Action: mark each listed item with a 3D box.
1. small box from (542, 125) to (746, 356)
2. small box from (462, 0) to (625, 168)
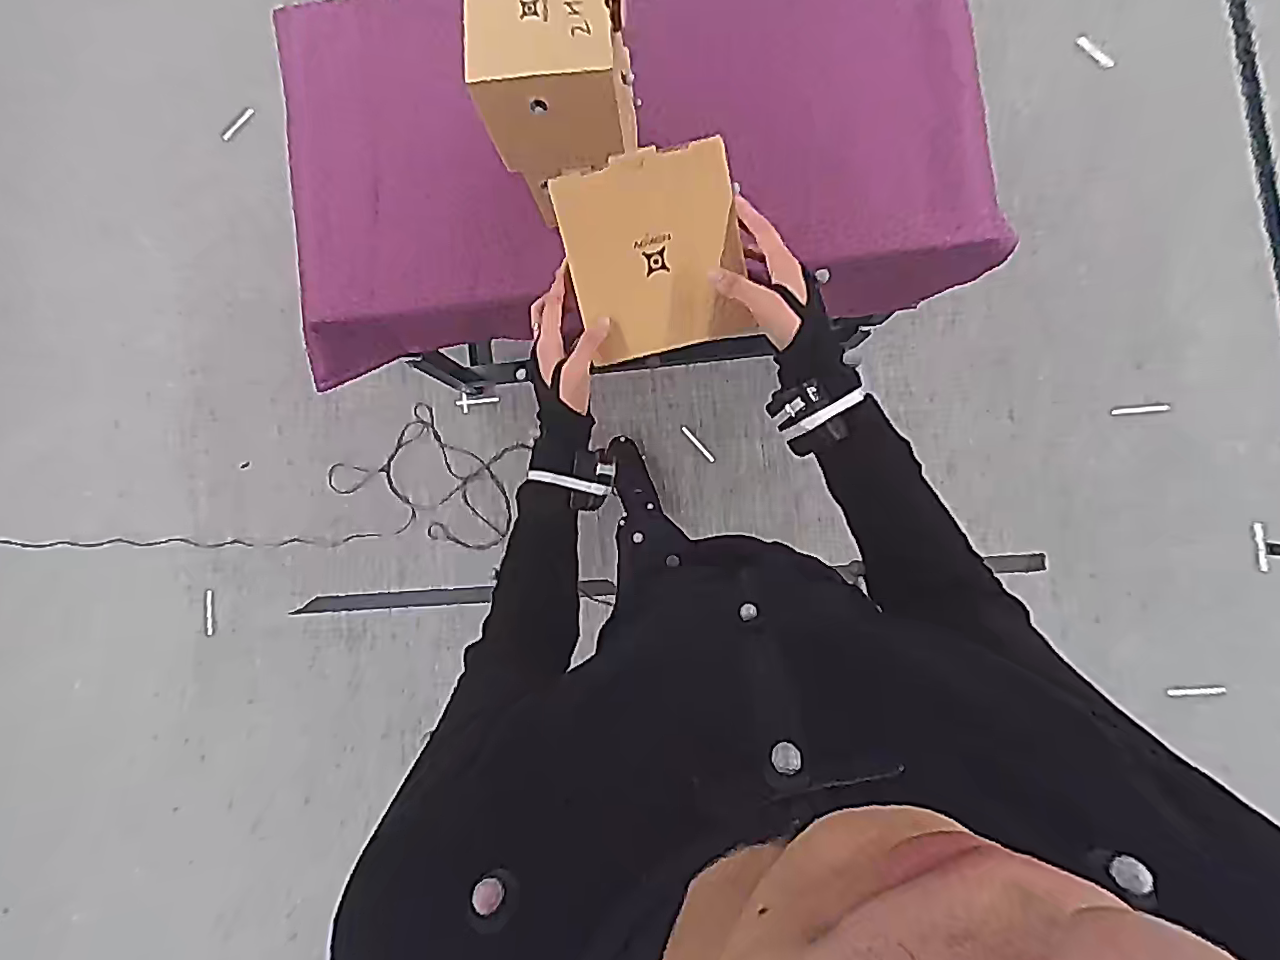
[{"bbox_3d":[0.008,-0.237,0.584,0.168,0.176,0.179,-12,101,3],"label":"small box"},{"bbox_3d":[-0.115,-0.535,0.704,0.179,0.176,0.168,-2,87,3],"label":"small box"}]
